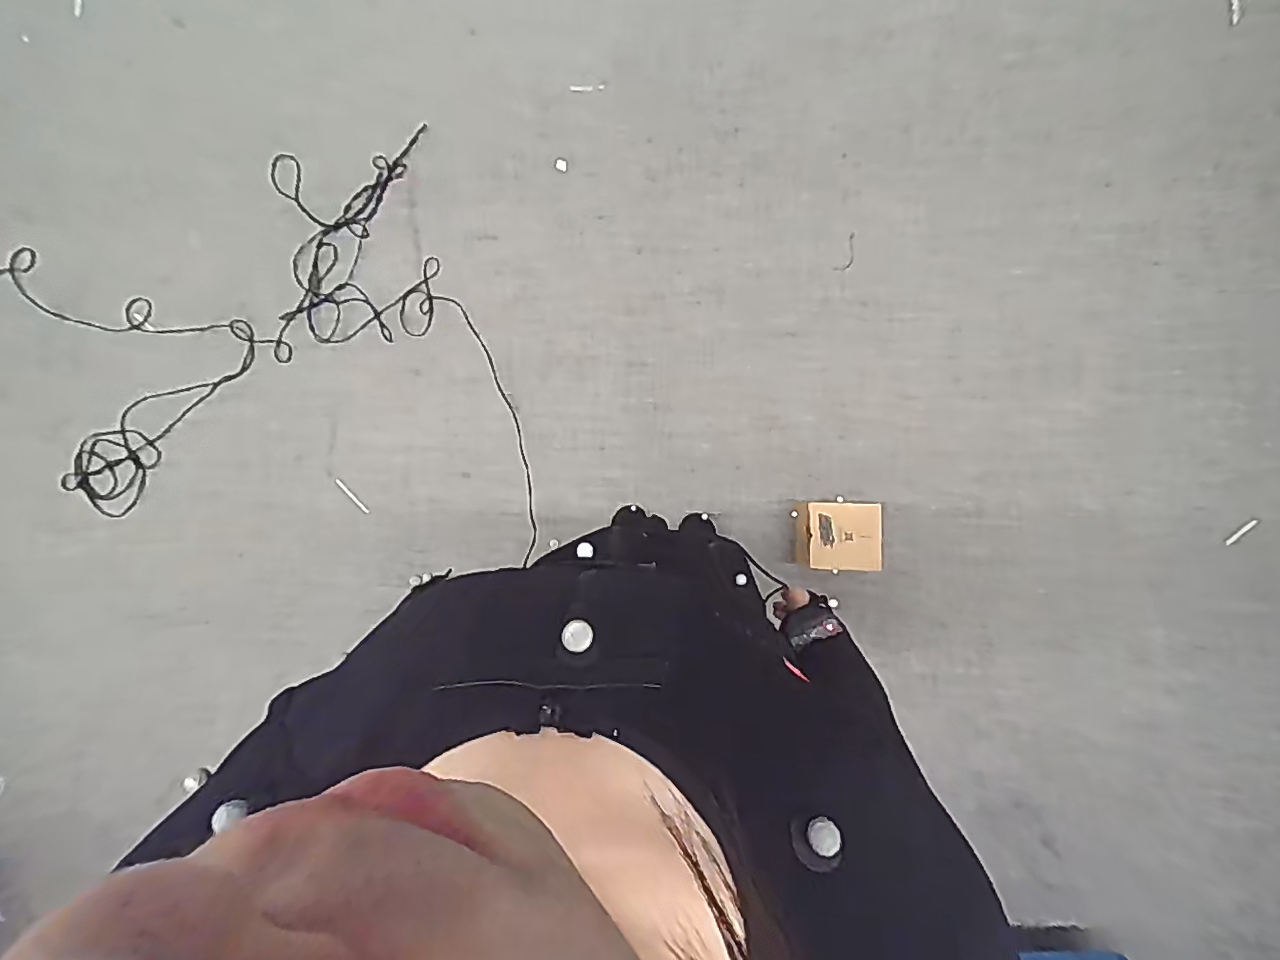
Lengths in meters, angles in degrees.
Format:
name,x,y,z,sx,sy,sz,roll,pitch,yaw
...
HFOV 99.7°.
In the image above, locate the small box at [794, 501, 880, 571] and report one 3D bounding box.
name,x,y,z,sx,sy,sz,roll,pitch,yaw
small box,0.502,0.140,1.400,0.179,0.176,0.168,1,88,4
